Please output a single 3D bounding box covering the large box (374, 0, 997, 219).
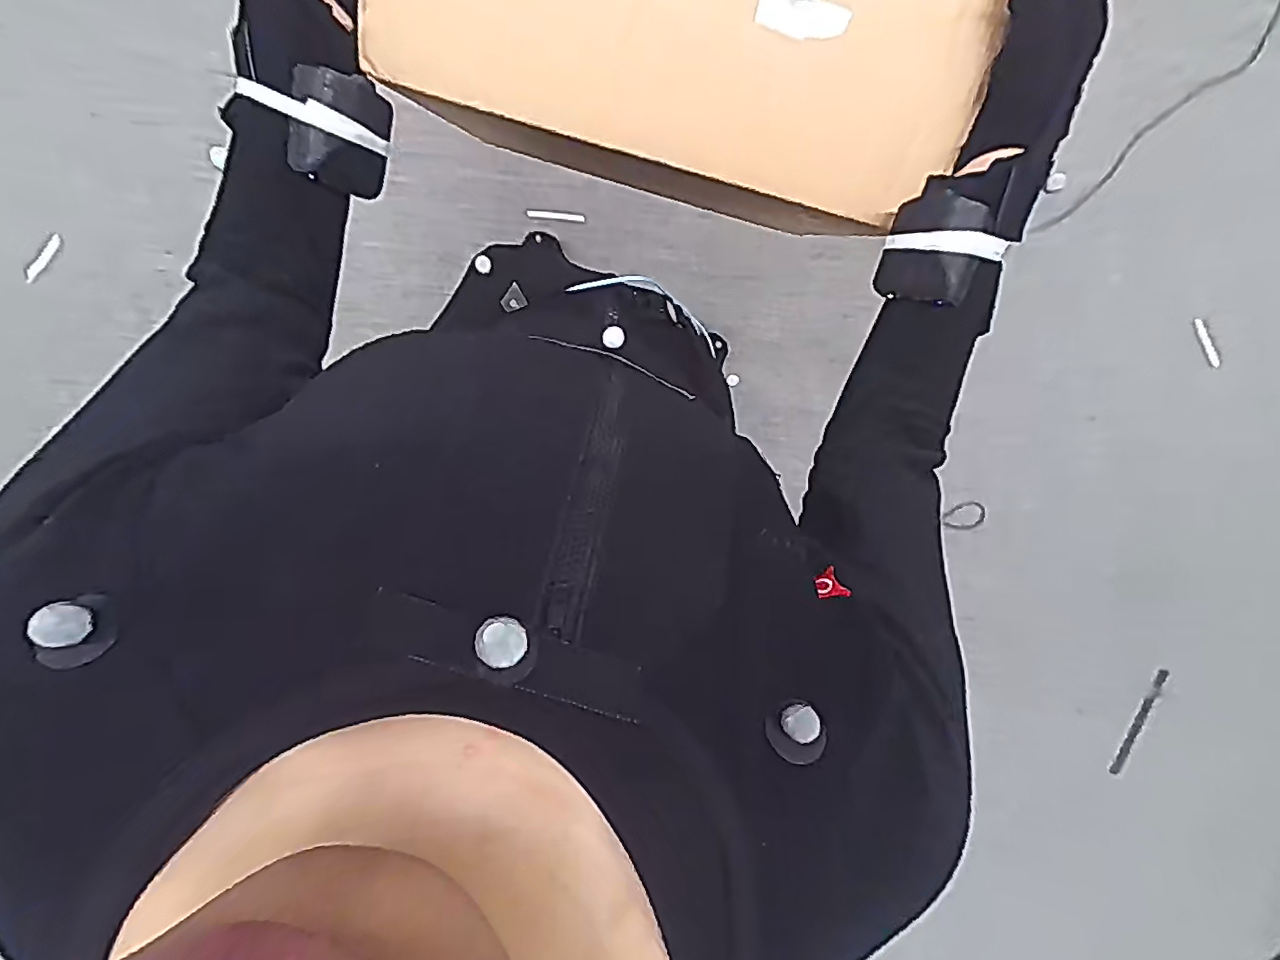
[{"bbox_3d":[0.042,-0.435,0.457,0.408,0.320,0.320,12,115,-7],"label":"large box"}]
